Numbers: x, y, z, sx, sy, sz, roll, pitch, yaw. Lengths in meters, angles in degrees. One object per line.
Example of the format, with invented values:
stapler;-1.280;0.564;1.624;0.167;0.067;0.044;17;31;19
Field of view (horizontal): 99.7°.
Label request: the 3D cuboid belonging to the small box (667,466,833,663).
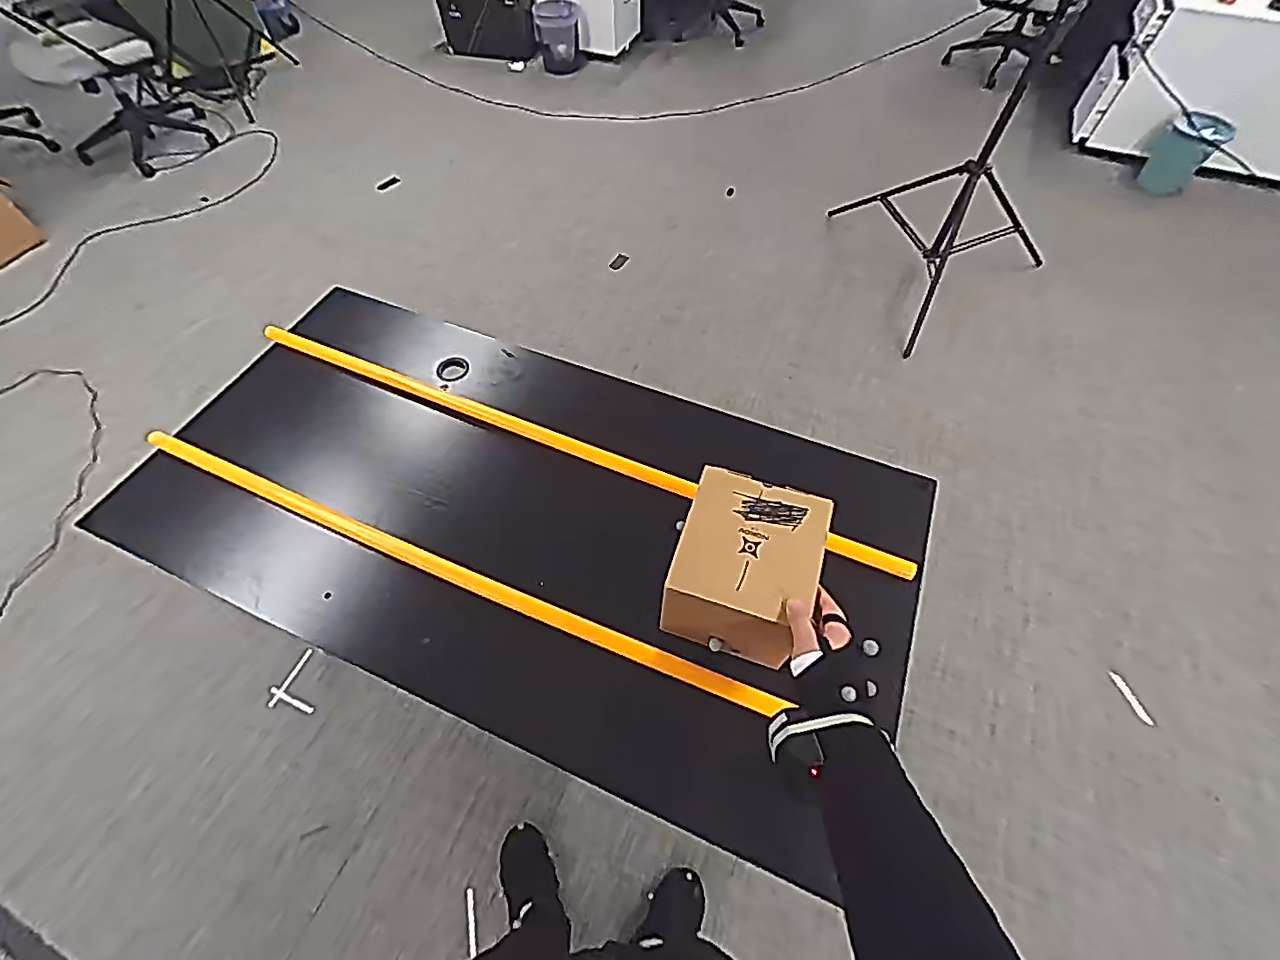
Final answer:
small box;0.136;0.114;0.710;0.168;0.176;0.179;16;60;11
